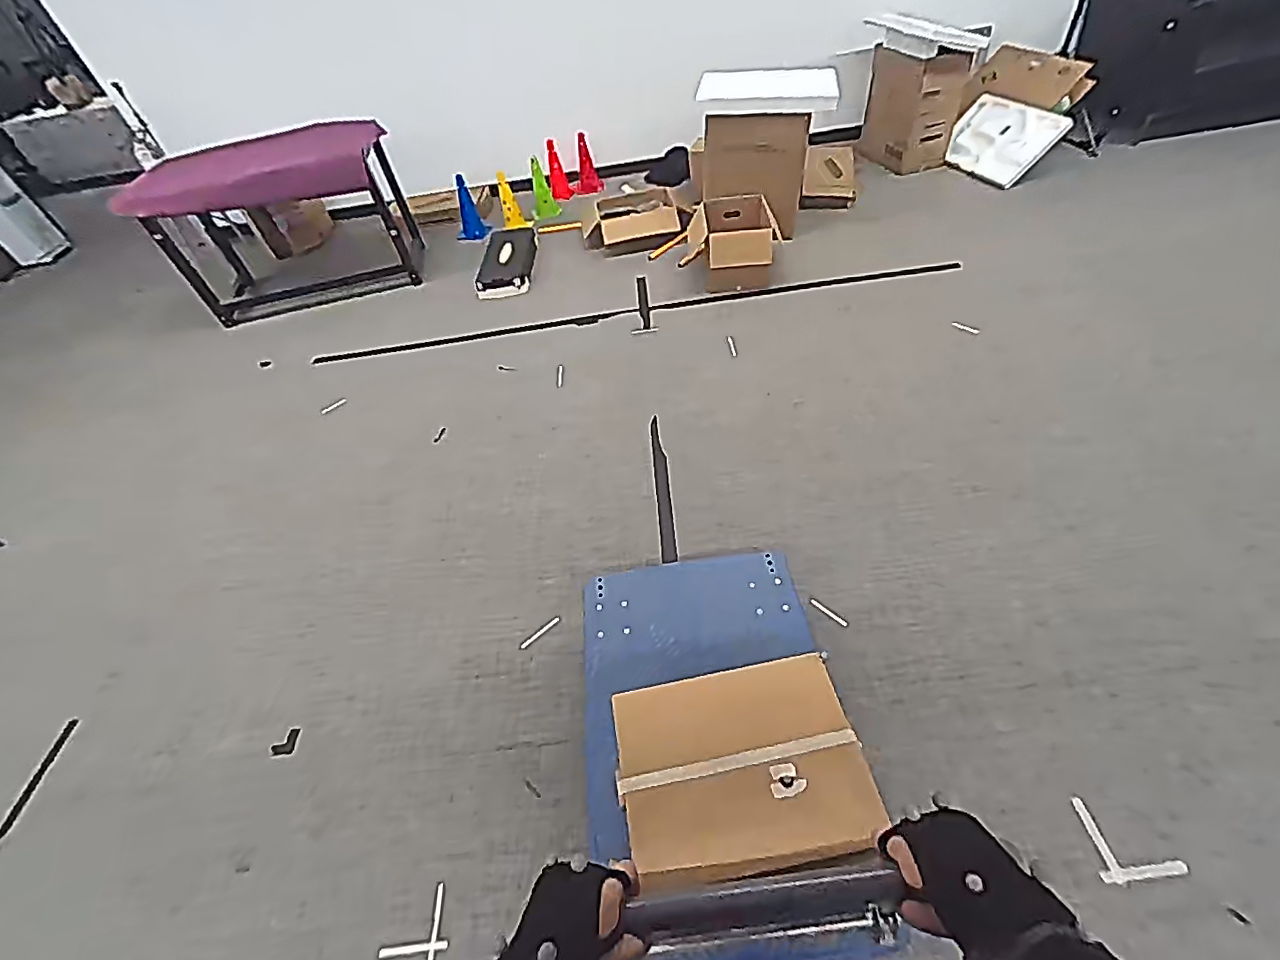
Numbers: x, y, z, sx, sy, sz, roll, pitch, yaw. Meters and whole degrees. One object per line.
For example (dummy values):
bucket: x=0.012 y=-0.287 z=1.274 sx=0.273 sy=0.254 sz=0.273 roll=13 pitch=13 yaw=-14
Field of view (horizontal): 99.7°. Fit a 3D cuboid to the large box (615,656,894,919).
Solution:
large box: x=0.187 y=0.586 z=1.030 sx=0.408 sy=0.320 sz=0.320 roll=-11 pitch=48 yaw=-3
